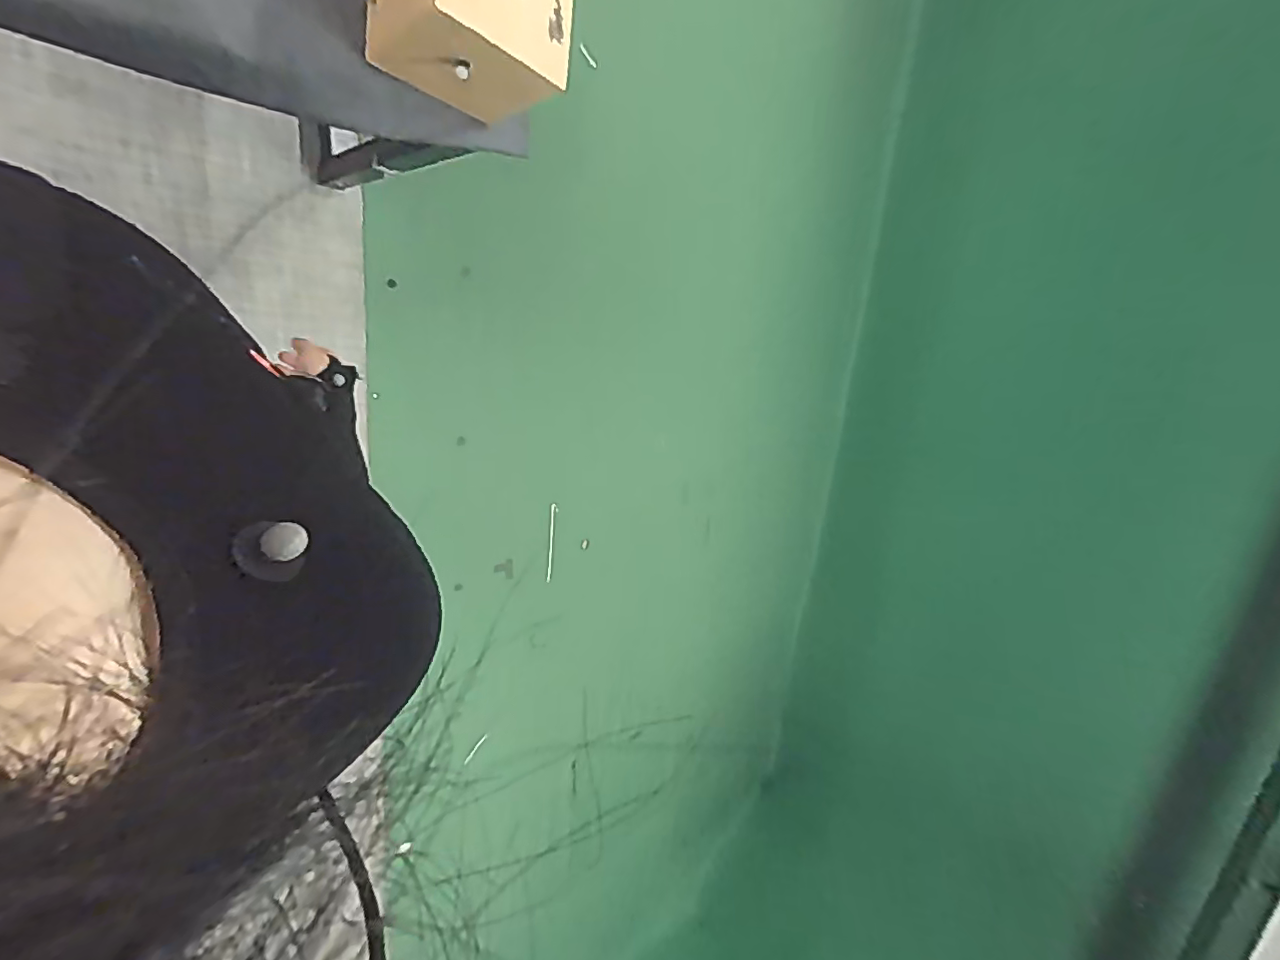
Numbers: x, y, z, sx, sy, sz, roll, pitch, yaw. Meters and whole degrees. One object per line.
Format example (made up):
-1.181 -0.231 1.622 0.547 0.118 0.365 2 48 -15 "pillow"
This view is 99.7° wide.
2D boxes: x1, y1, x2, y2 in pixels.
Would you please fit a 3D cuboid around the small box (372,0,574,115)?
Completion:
-0.197 -0.568 0.638 0.179 0.176 0.168 -2 103 -47 "small box"
